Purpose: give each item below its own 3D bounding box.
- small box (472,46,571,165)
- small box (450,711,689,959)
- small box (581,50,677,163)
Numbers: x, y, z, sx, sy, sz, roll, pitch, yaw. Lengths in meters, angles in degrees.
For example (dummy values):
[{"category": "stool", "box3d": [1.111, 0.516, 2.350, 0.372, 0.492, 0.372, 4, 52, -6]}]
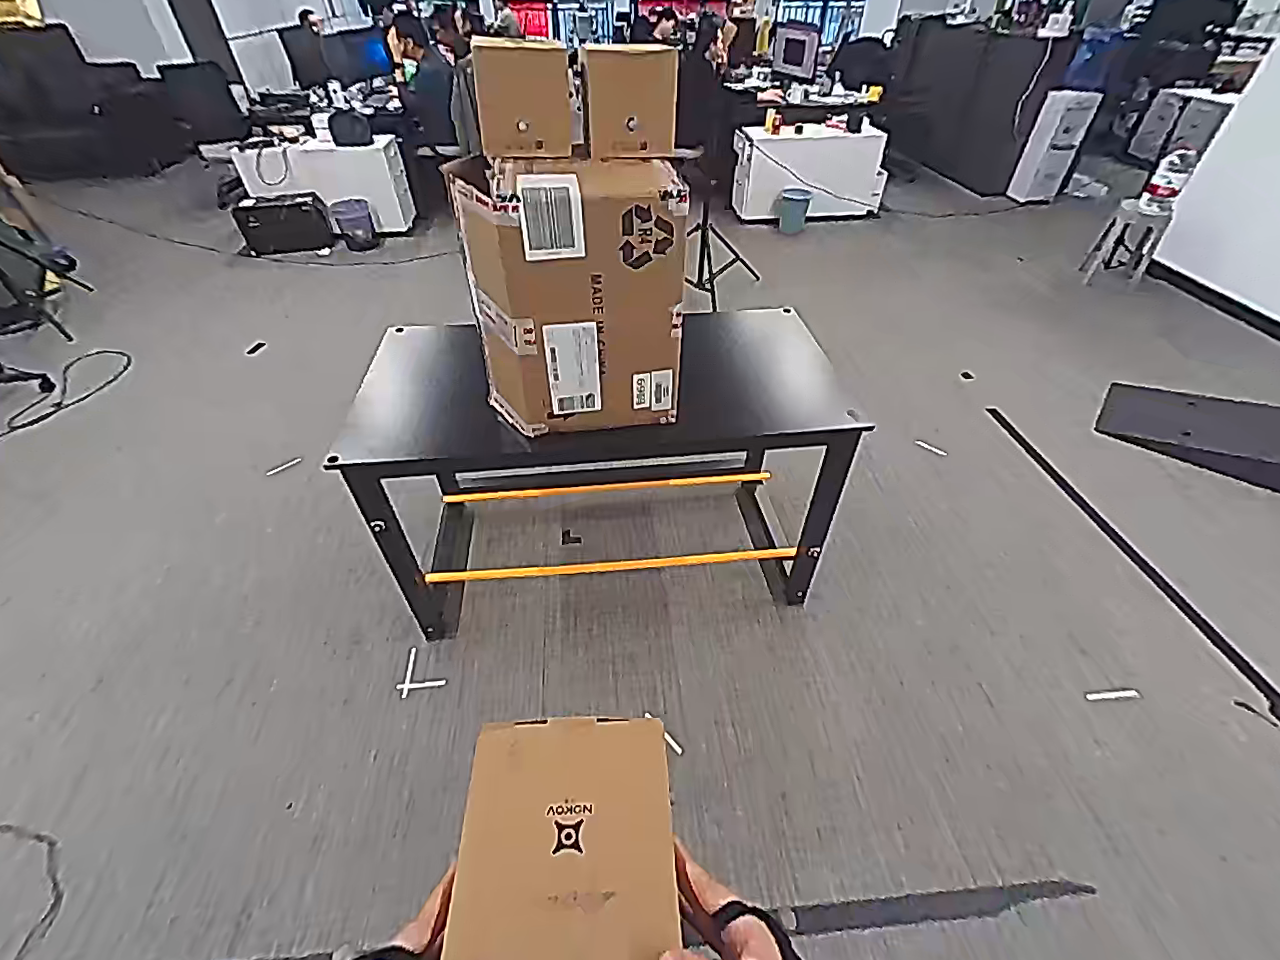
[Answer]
[{"category": "small box", "box3d": [-0.224, -0.720, 1.039, 0.168, 0.176, 0.179, -6, 41, -10]}, {"category": "small box", "box3d": [-0.055, 0.329, 0.480, 0.168, 0.176, 0.179, 0, 42, -4]}, {"category": "small box", "box3d": [-0.027, -0.737, 1.065, 0.168, 0.176, 0.179, -6, 41, -7]}]
